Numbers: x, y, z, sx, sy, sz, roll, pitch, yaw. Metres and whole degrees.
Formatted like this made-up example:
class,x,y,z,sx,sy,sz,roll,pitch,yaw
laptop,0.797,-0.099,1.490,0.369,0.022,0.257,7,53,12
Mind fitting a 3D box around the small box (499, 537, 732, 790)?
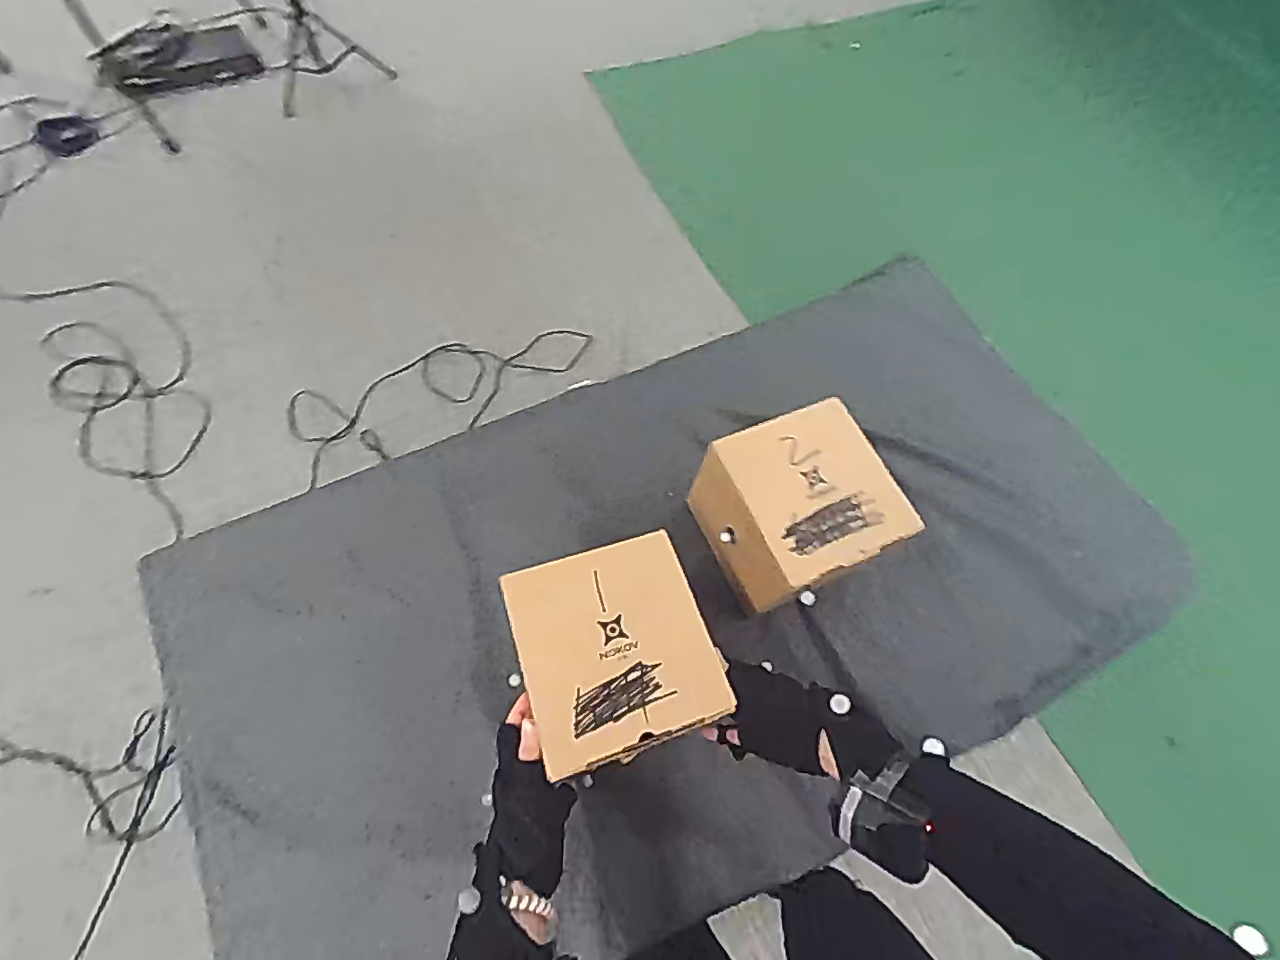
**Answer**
class,x,y,z,sx,sy,sz,roll,pitch,yaw
small box,-0.032,0.184,0.538,0.168,0.176,0.179,-14,63,-15
